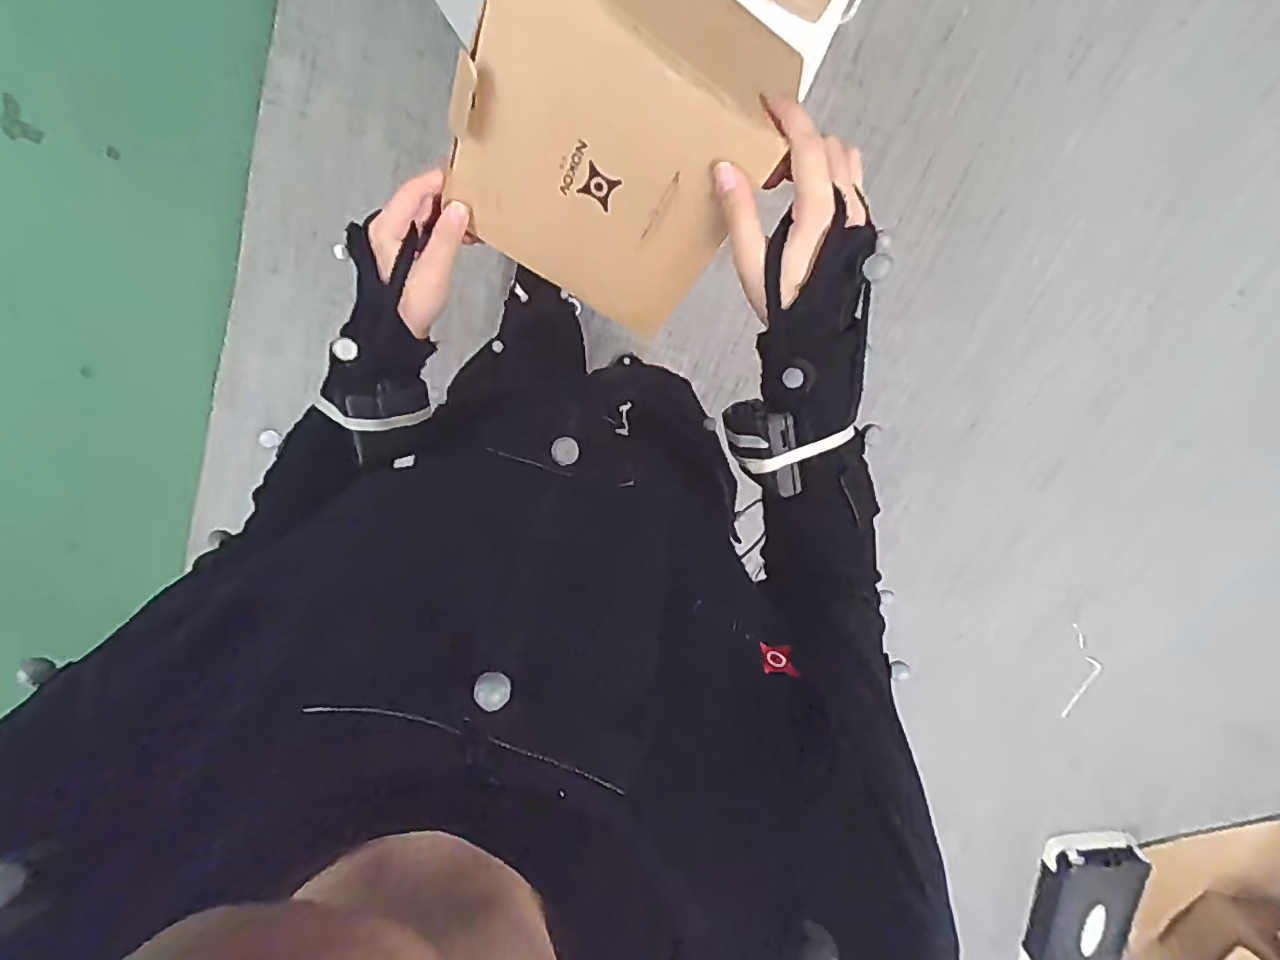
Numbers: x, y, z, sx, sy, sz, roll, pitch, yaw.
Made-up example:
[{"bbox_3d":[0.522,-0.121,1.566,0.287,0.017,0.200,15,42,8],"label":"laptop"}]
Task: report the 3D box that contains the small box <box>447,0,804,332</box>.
[{"bbox_3d":[-0.006,-0.248,0.382,0.179,0.176,0.168,26,143,-13],"label":"small box"}]
